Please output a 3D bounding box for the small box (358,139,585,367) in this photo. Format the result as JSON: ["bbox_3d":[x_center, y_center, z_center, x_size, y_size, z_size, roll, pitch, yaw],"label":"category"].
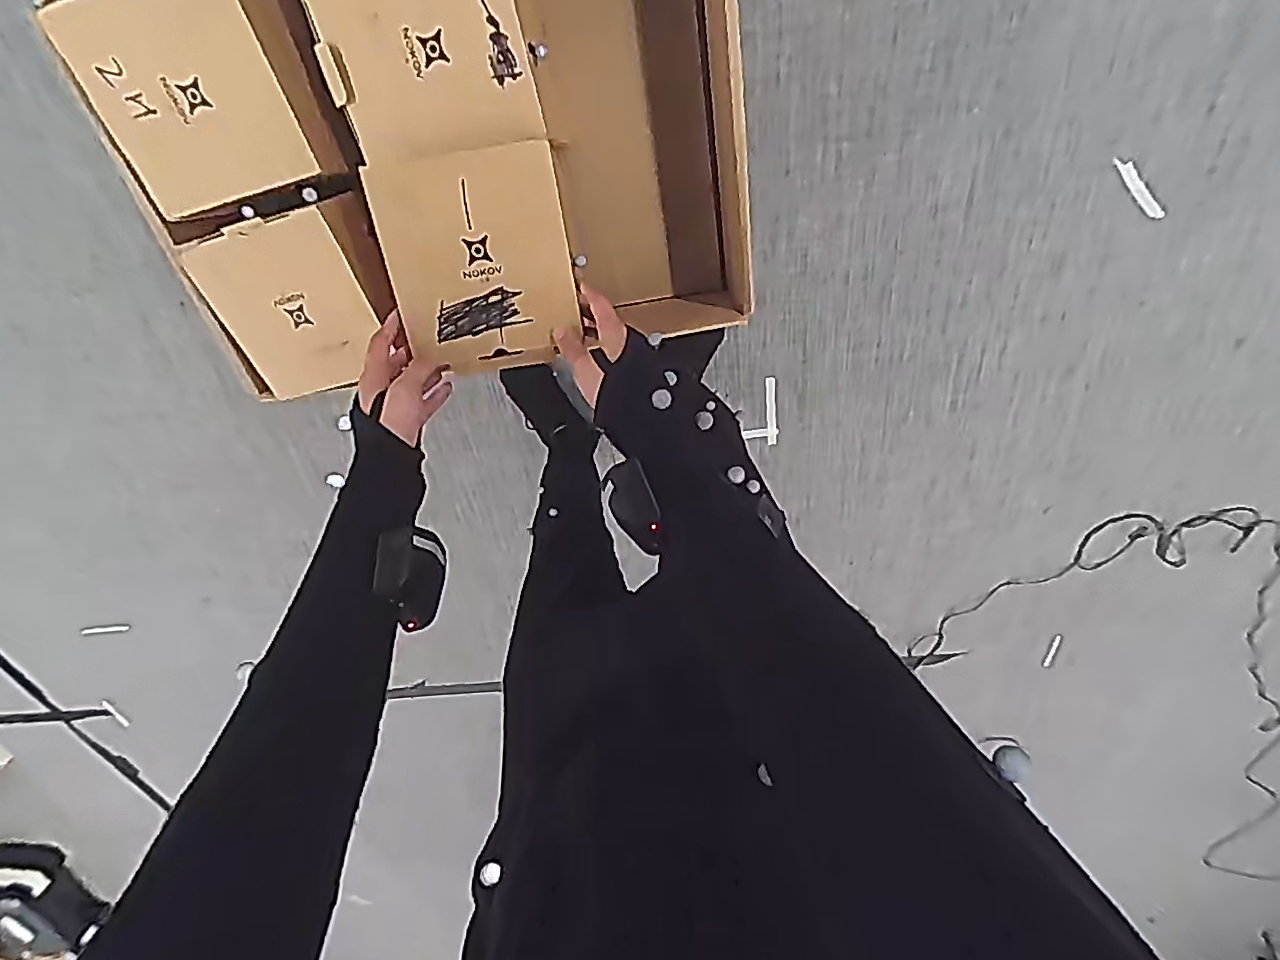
[{"bbox_3d":[-0.153,-0.226,0.563,0.168,0.176,0.179,-9,109,-1],"label":"small box"}]
